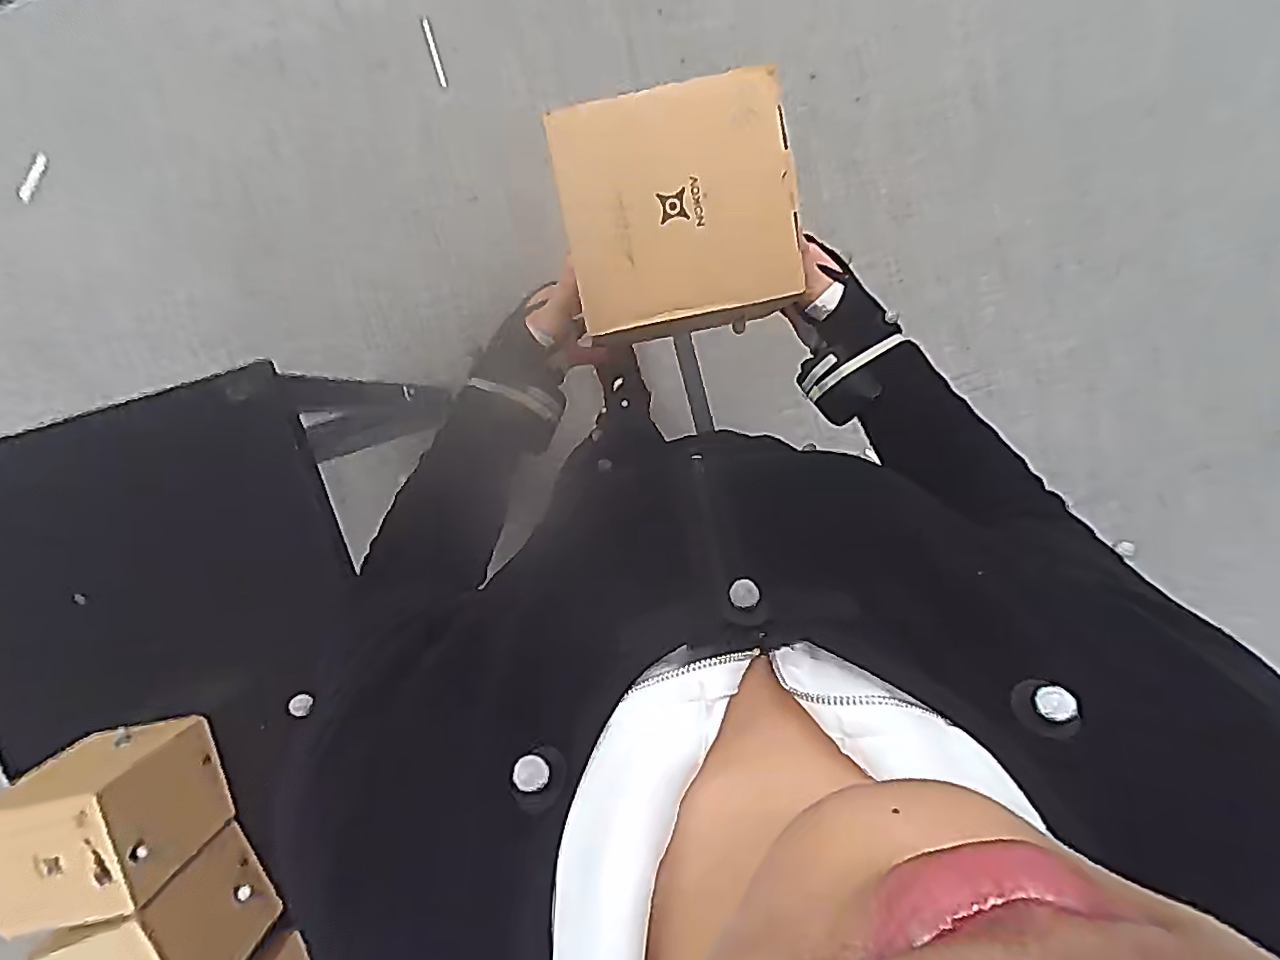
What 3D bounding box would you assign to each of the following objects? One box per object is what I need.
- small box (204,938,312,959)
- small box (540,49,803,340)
[{"bbox_3d":[-0.587,0.809,0.775,0.179,0.176,0.168,-13,96,3],"label":"small box"},{"bbox_3d":[0.027,-0.229,0.484,0.179,0.176,0.168,-11,98,4],"label":"small box"}]
